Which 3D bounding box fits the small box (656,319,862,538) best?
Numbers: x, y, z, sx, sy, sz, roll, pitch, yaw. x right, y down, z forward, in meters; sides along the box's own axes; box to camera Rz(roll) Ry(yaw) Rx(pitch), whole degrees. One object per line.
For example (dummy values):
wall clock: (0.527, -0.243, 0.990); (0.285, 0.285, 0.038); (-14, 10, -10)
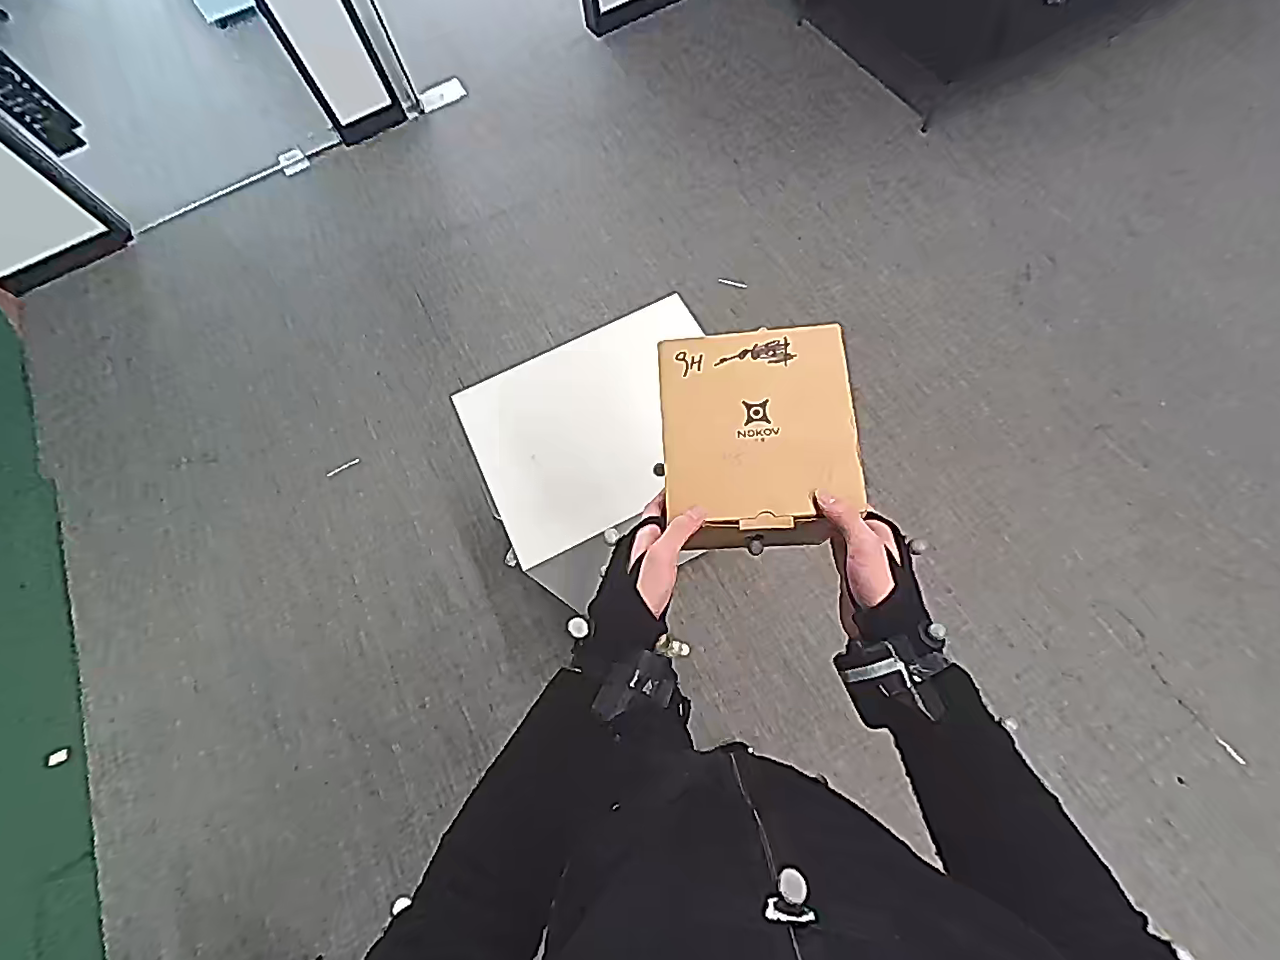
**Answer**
small box: (0.111, -0.037, 0.556); (0.168, 0.176, 0.179); (-6, 75, 5)
